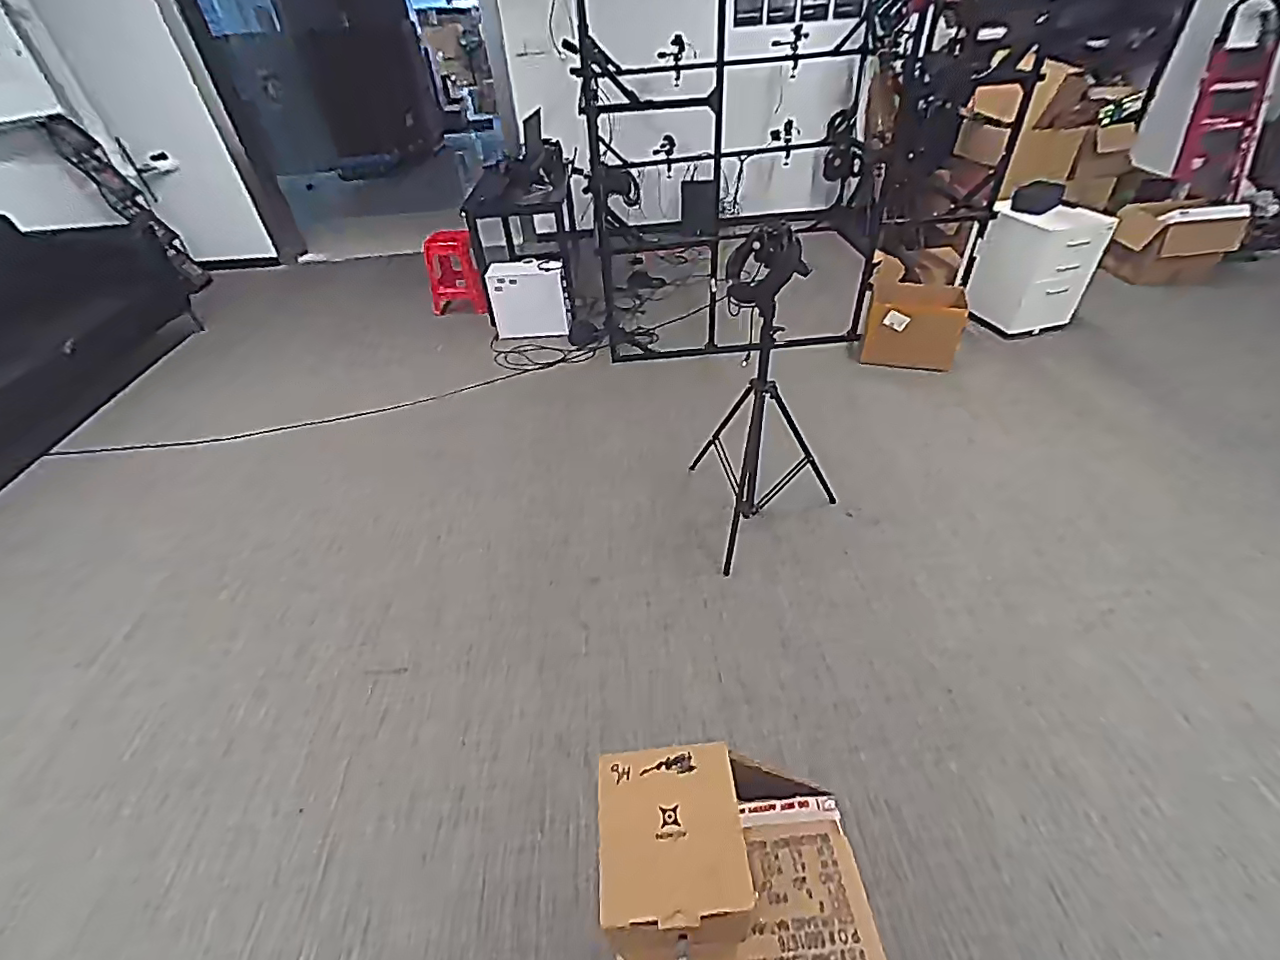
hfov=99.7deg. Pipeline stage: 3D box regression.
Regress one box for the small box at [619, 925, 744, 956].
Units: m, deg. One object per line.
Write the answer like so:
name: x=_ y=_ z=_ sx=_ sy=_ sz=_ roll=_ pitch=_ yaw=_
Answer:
small box: x=0.052 y=0.569 z=0.799 sx=0.168 sy=0.176 sz=0.179 roll=-8 pitch=43 yaw=-1

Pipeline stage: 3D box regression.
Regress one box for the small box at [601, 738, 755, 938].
small box: x=0.044 y=0.454 z=0.682 sx=0.168 sy=0.176 sz=0.179 roll=-7 pitch=43 yaw=0
